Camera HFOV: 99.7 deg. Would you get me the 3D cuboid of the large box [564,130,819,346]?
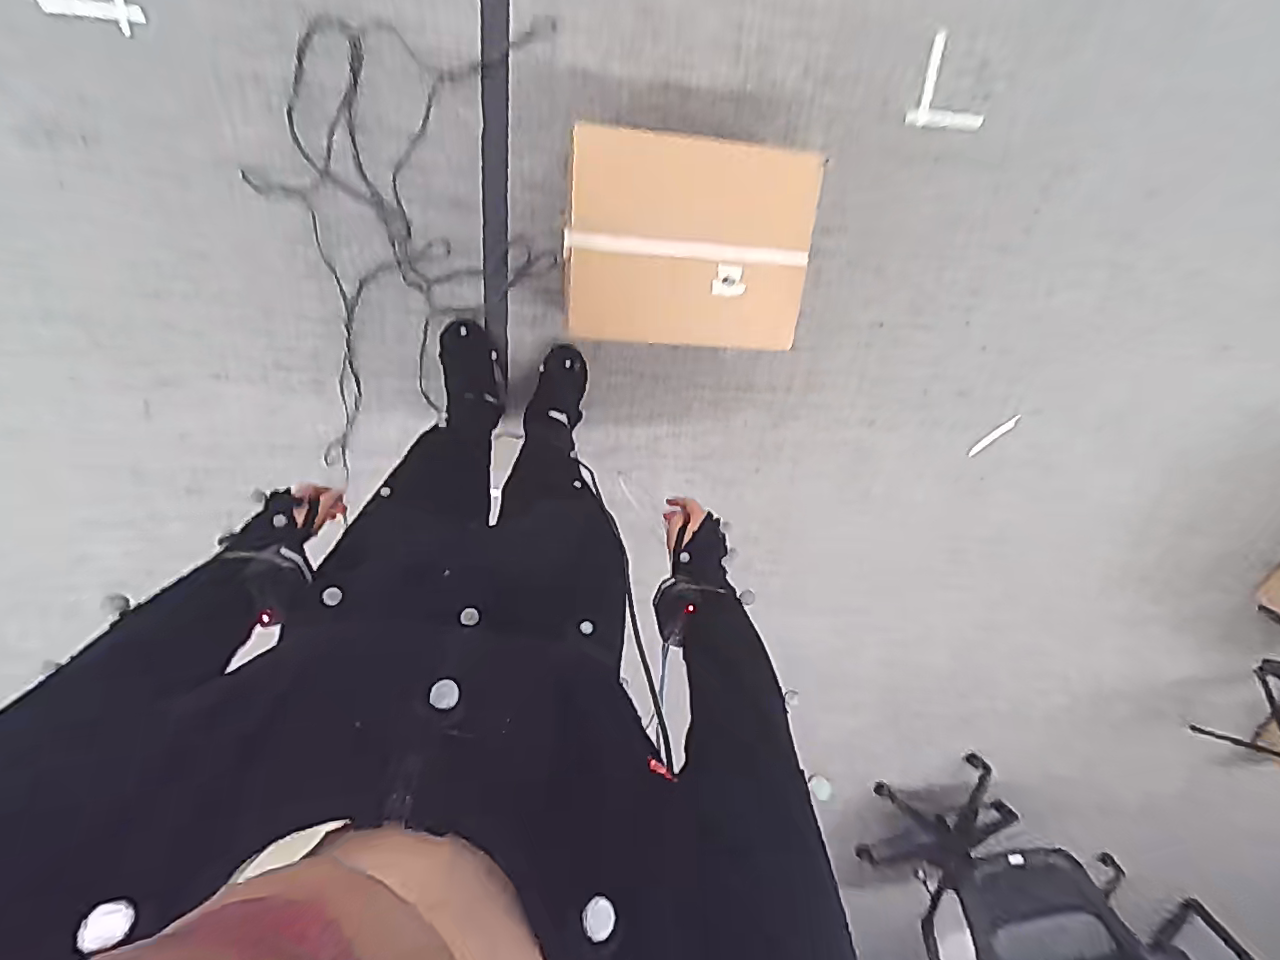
[{"bbox_3d":[0.062,-0.442,1.031,0.408,0.320,0.320,0,114,-10],"label":"large box"}]
